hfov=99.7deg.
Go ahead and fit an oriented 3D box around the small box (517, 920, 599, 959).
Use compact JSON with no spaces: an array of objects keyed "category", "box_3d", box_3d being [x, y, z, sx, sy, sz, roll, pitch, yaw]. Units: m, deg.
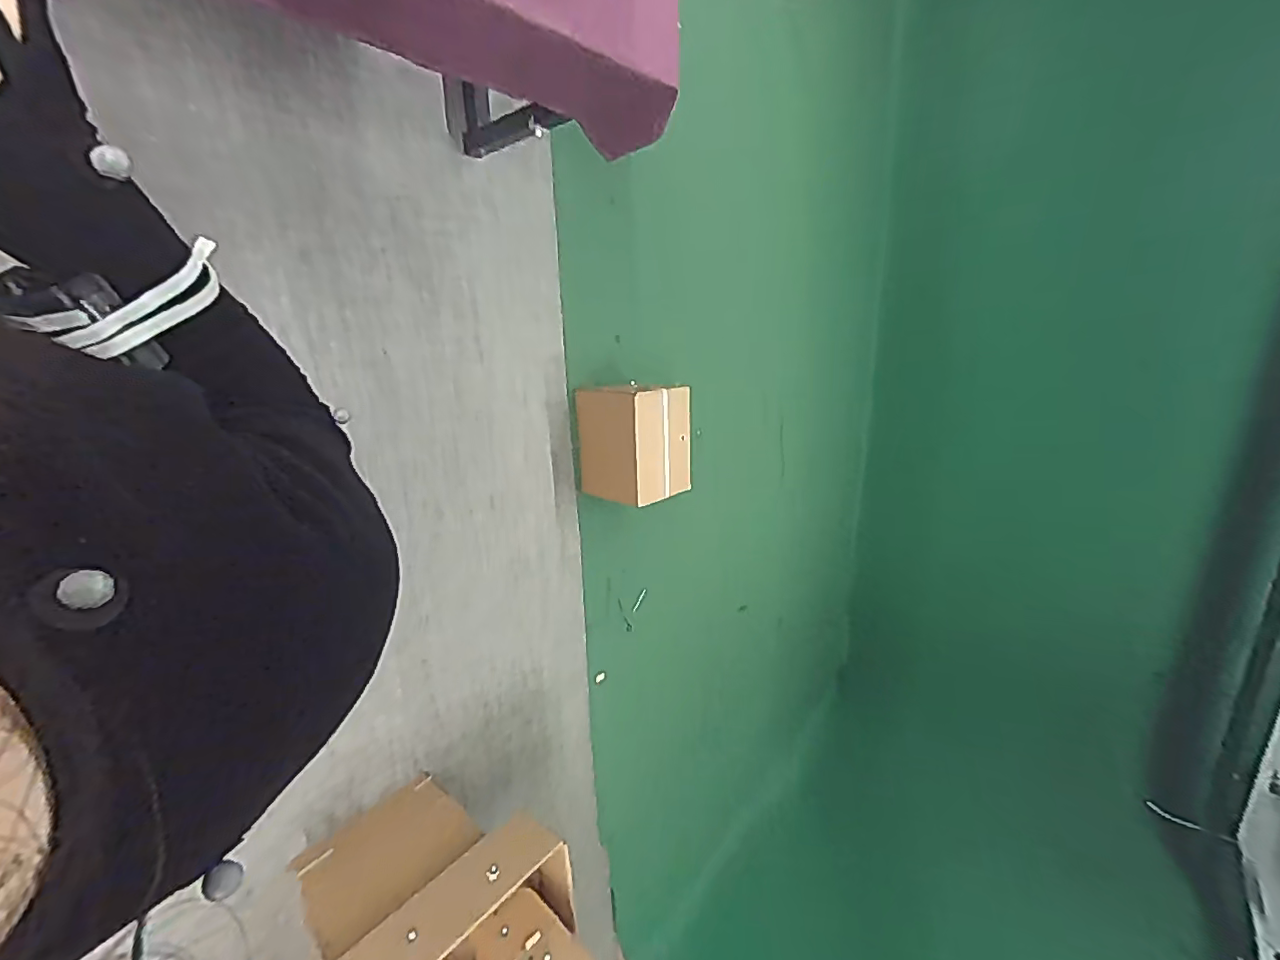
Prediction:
[{"category":"small box","box_3d":[-0.199,1.257,1.334,0.168,0.176,0.179,-20,114,-45]}]
